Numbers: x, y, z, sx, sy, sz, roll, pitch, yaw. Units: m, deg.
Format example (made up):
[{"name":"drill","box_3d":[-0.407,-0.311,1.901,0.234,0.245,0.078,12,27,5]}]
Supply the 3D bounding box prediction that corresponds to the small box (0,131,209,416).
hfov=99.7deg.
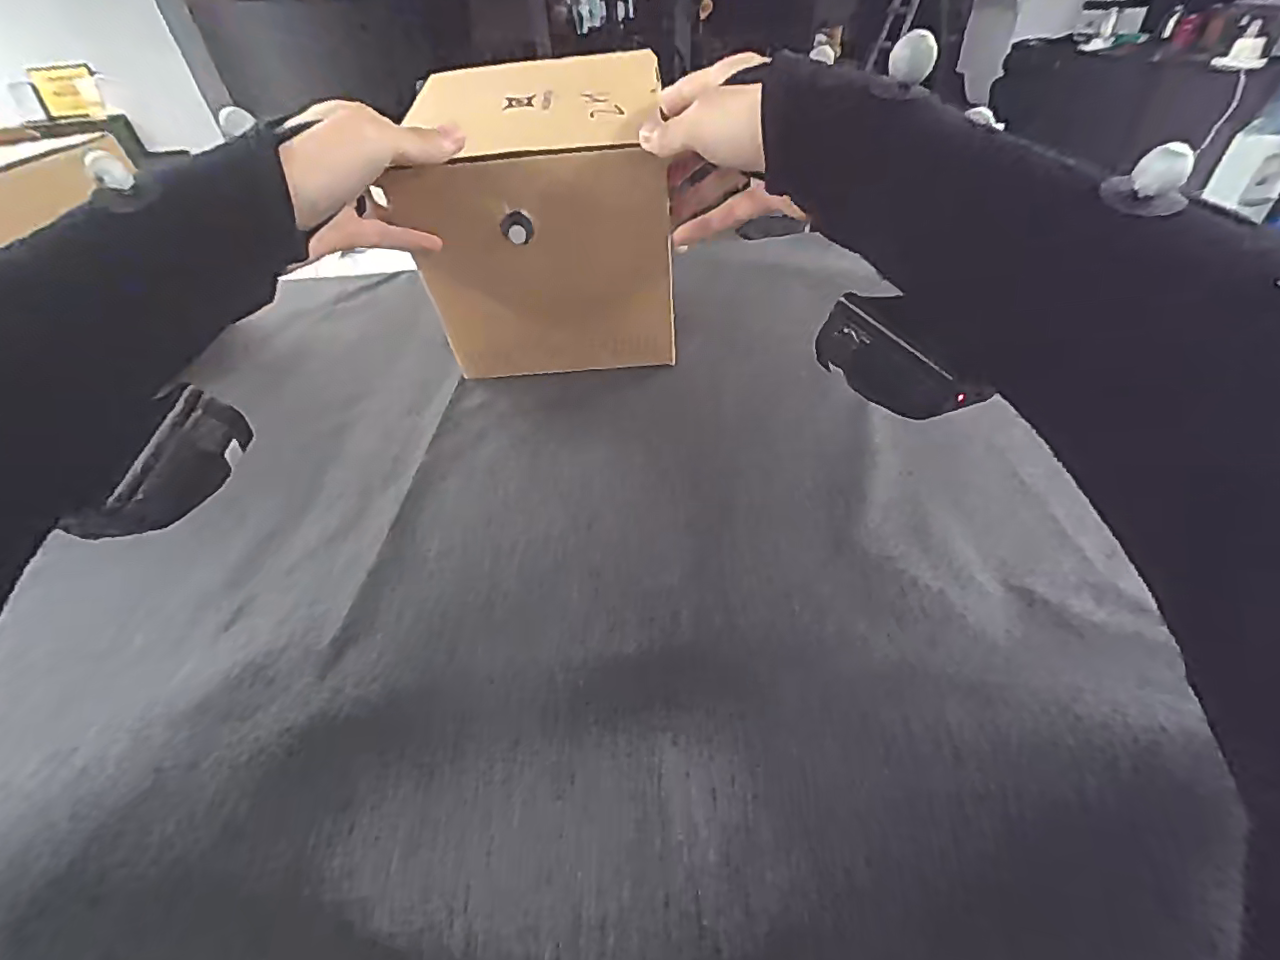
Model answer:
[{"name":"small box","box_3d":[-0.513,-0.170,0.447,0.168,0.176,0.179,-8,42,-2]}]

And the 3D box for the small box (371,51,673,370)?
[{"name":"small box","box_3d":[-0.066,-0.201,0.421,0.179,0.176,0.168,-3,52,2]}]
